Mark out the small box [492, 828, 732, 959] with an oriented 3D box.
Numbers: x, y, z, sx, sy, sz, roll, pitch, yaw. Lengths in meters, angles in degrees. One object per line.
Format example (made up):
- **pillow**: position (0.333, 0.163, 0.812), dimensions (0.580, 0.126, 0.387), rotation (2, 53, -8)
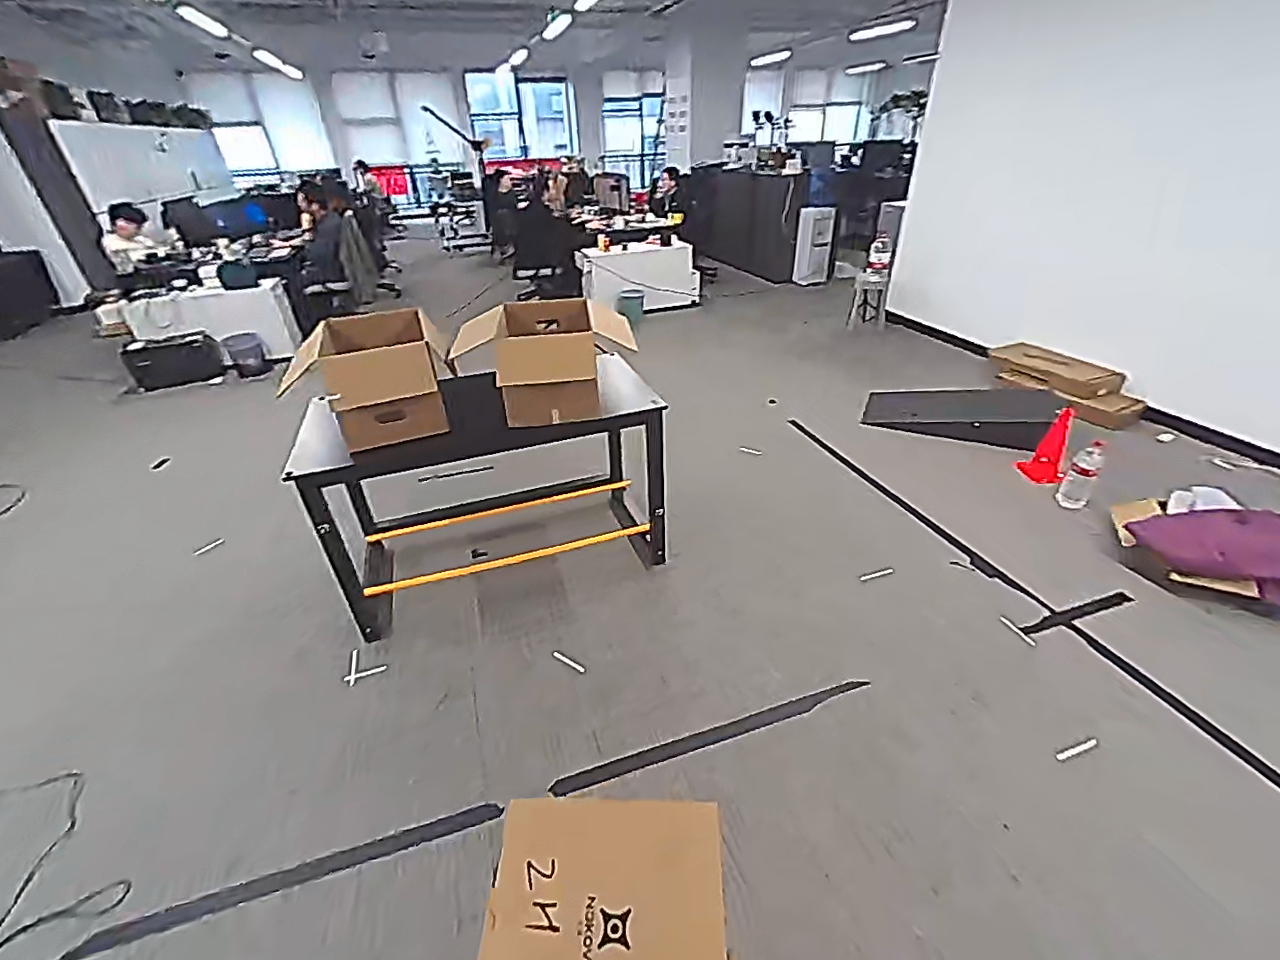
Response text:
- **small box**: position (-0.017, 0.403, 0.440), dimensions (0.179, 0.176, 0.168), rotation (-2, 42, 4)
